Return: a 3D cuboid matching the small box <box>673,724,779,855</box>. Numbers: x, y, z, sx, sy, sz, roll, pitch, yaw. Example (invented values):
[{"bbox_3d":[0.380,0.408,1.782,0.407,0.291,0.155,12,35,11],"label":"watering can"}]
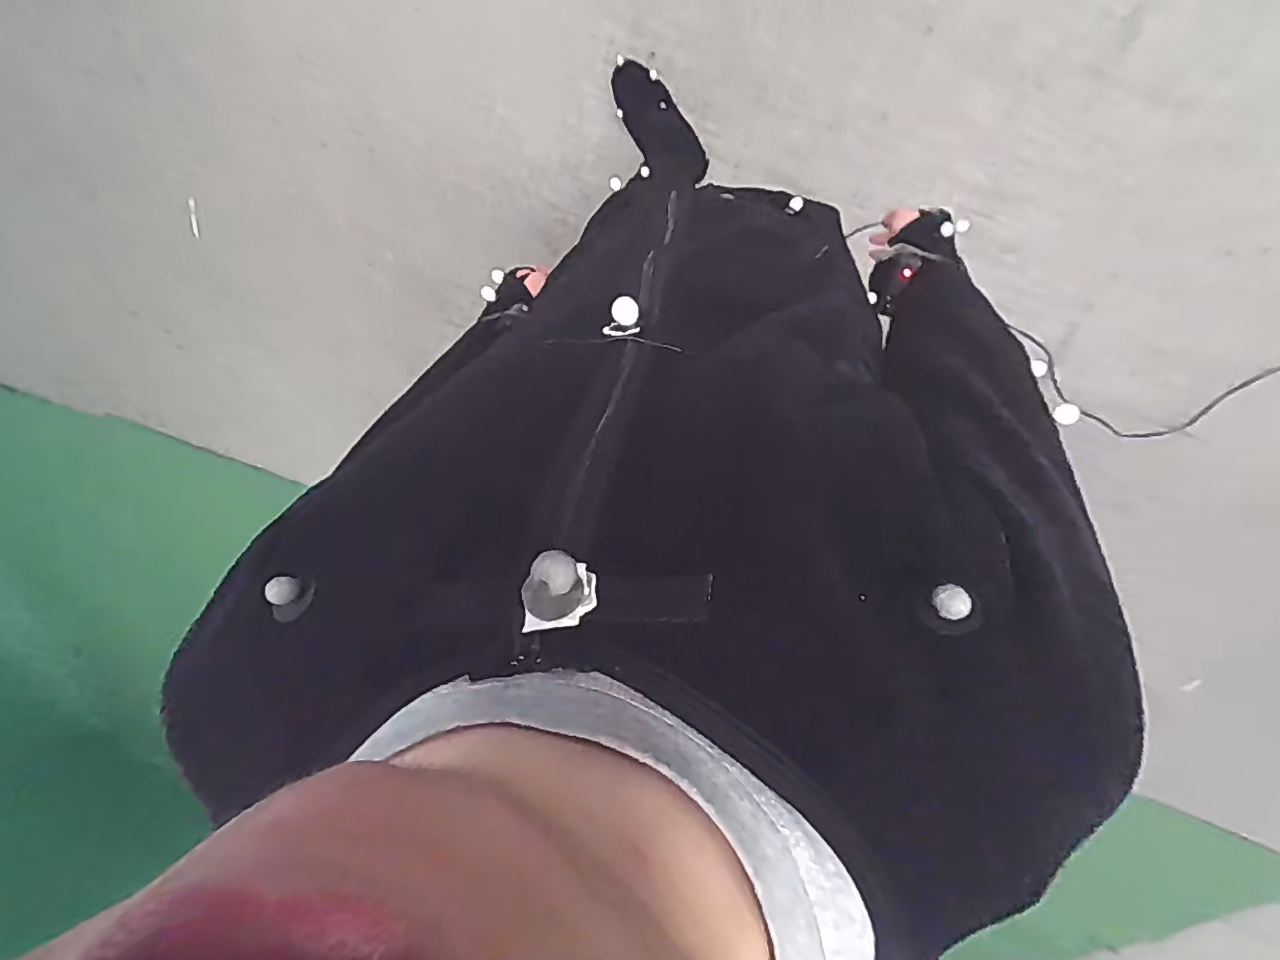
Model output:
[{"bbox_3d":[0.182,0.656,1.157,0.168,0.176,0.179,20,126,0],"label":"small box"}]
